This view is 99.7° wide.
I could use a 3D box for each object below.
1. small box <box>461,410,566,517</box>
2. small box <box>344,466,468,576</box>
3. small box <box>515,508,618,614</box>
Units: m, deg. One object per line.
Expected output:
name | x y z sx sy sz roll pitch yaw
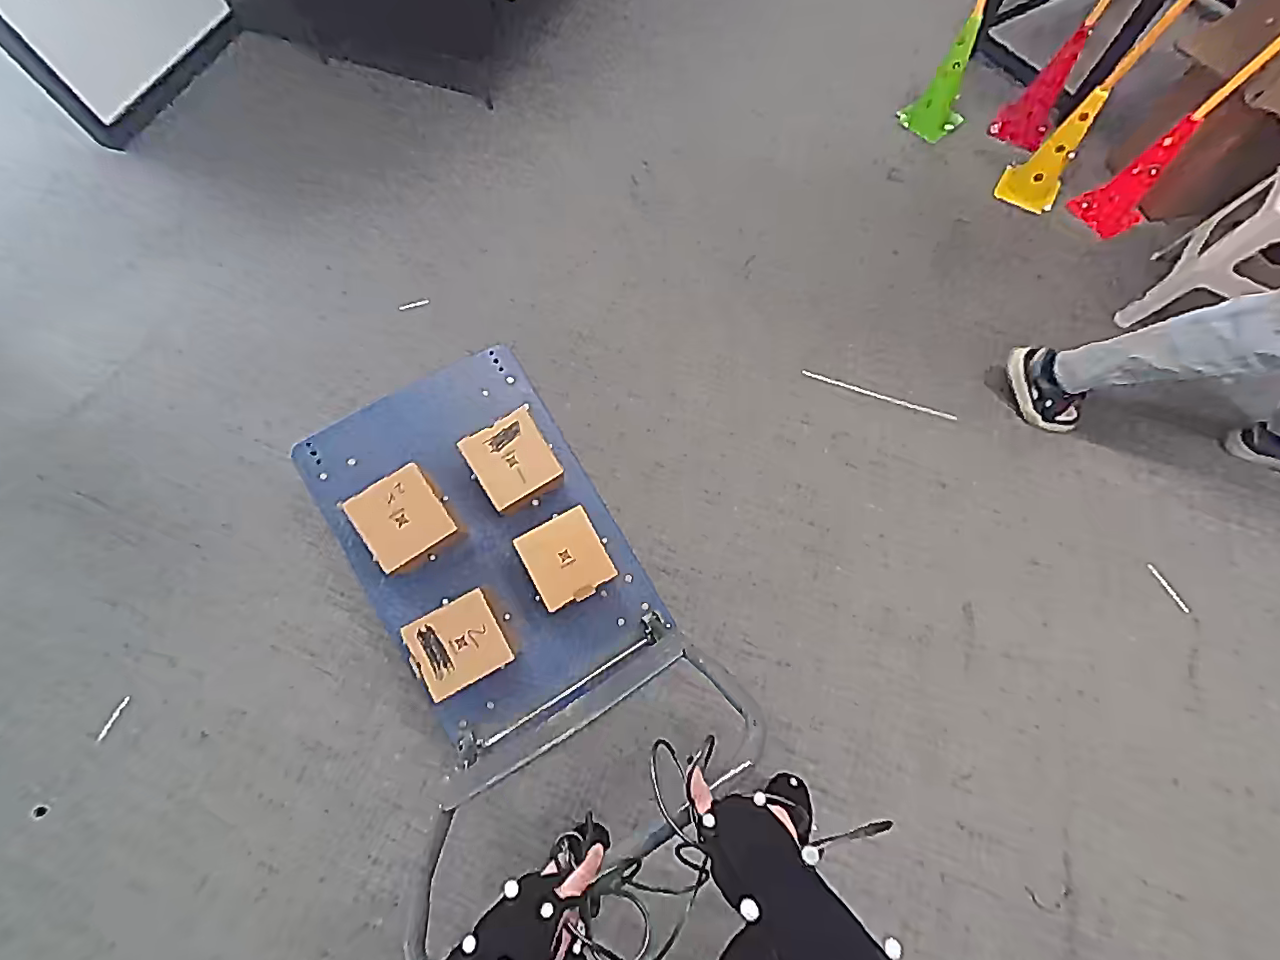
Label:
small box | -0.284 -0.030 1.244 0.168 0.176 0.179 -31 87 -10
small box | -0.505 0.093 1.196 0.168 0.176 0.179 -33 86 -12
small box | -0.167 0.184 1.226 0.168 0.176 0.179 -27 86 -10
